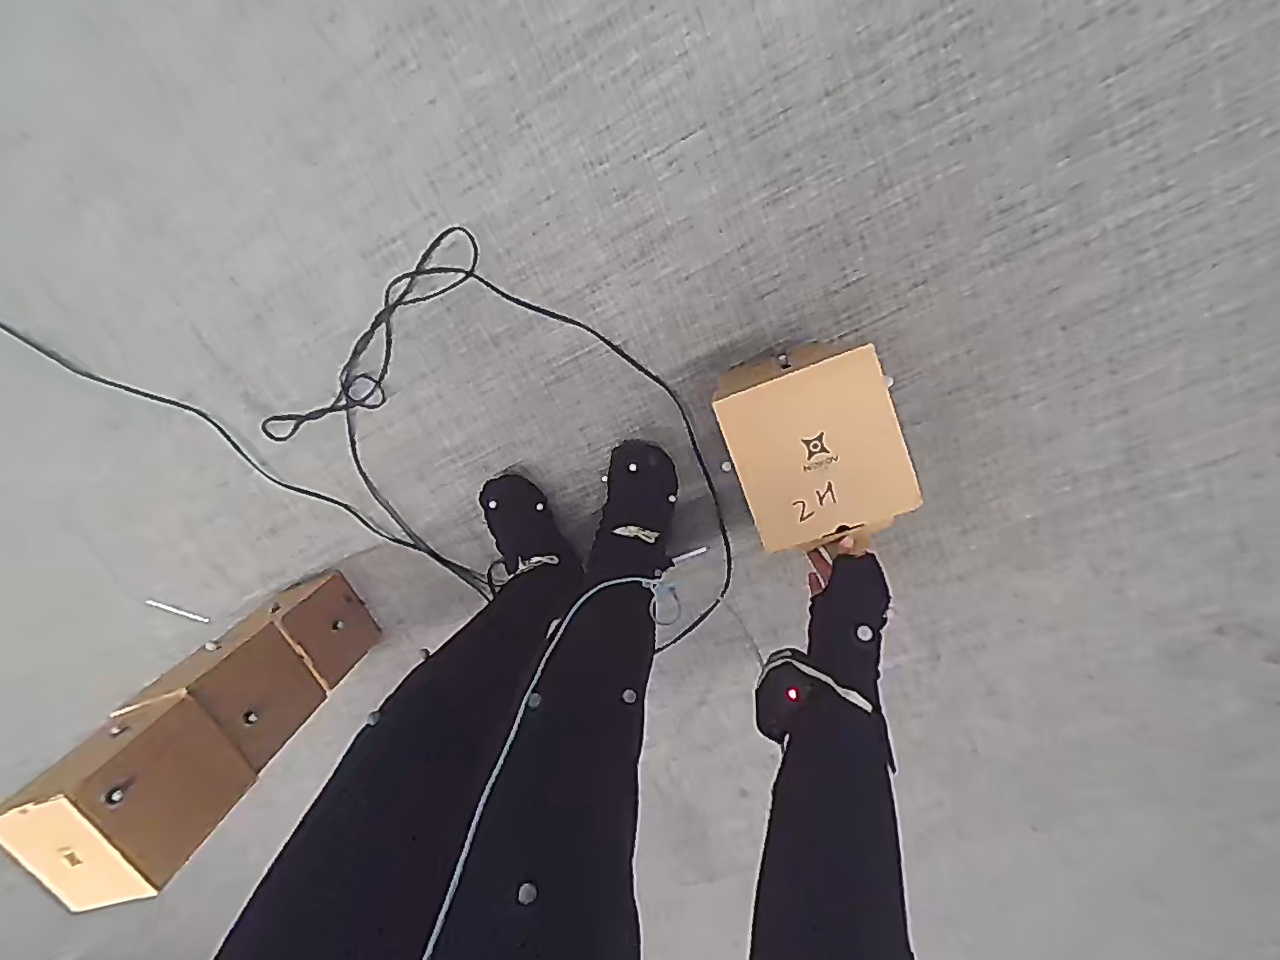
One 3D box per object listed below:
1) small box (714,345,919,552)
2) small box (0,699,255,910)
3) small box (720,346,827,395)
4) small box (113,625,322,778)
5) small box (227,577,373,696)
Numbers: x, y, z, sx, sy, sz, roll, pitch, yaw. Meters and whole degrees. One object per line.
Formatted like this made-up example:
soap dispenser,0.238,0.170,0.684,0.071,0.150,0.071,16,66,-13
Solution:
small box,0.191,-0.043,0.629,0.168,0.176,0.179,-19,99,13
small box,-0.690,0.438,0.742,0.168,0.176,0.179,-20,107,14
small box,0.218,-0.077,0.782,0.168,0.176,0.179,-17,108,12
small box,-0.676,0.372,0.890,0.168,0.176,0.179,-20,107,14
small box,-0.651,0.311,1.041,0.179,0.176,0.168,-21,107,14
